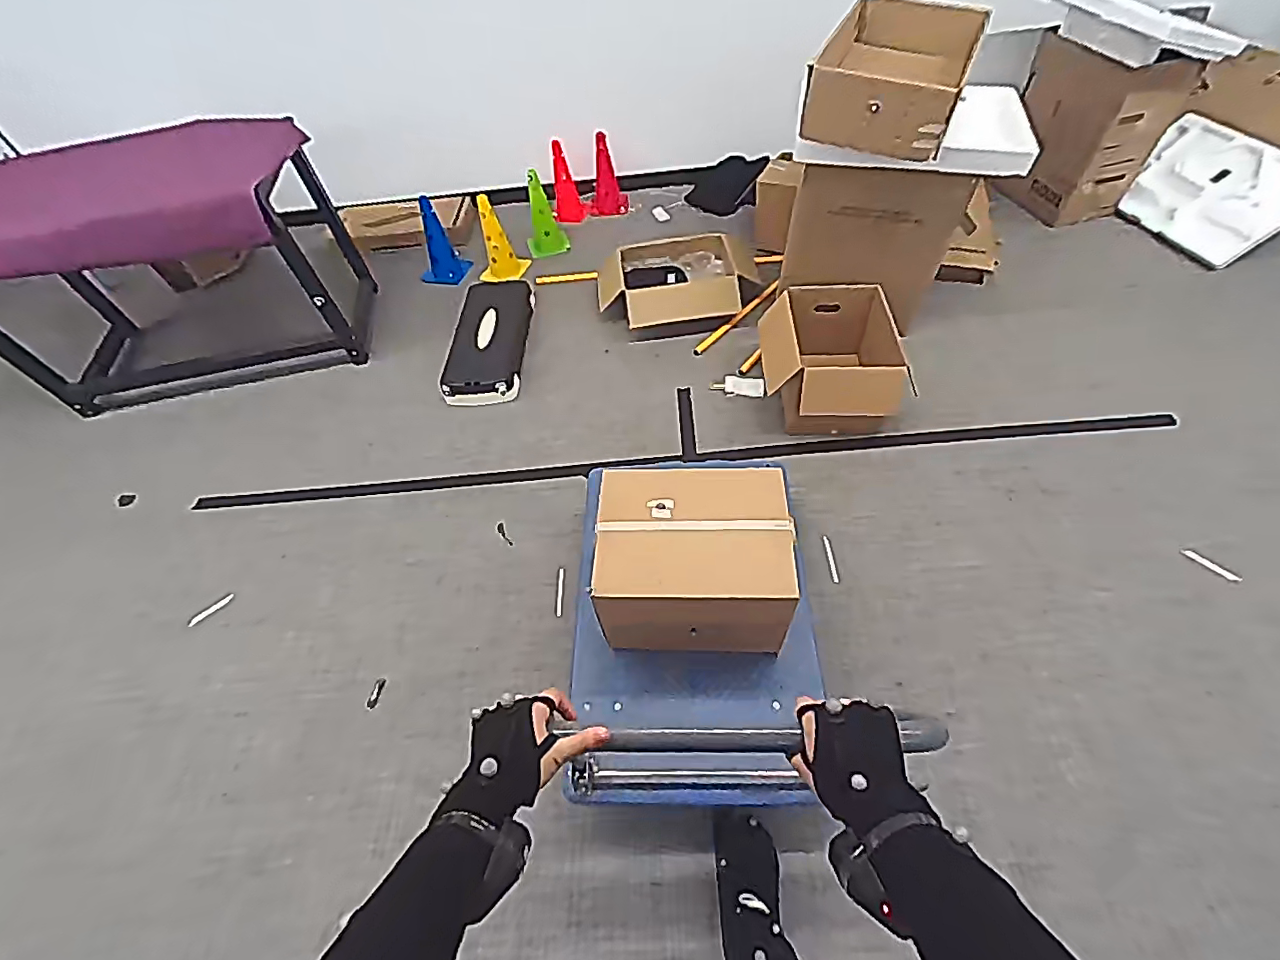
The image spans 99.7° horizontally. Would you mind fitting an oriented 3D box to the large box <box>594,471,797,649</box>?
[{"bbox_3d":[0.125,0.197,1.266,0.408,0.320,0.320,-2,53,5],"label":"large box"}]
